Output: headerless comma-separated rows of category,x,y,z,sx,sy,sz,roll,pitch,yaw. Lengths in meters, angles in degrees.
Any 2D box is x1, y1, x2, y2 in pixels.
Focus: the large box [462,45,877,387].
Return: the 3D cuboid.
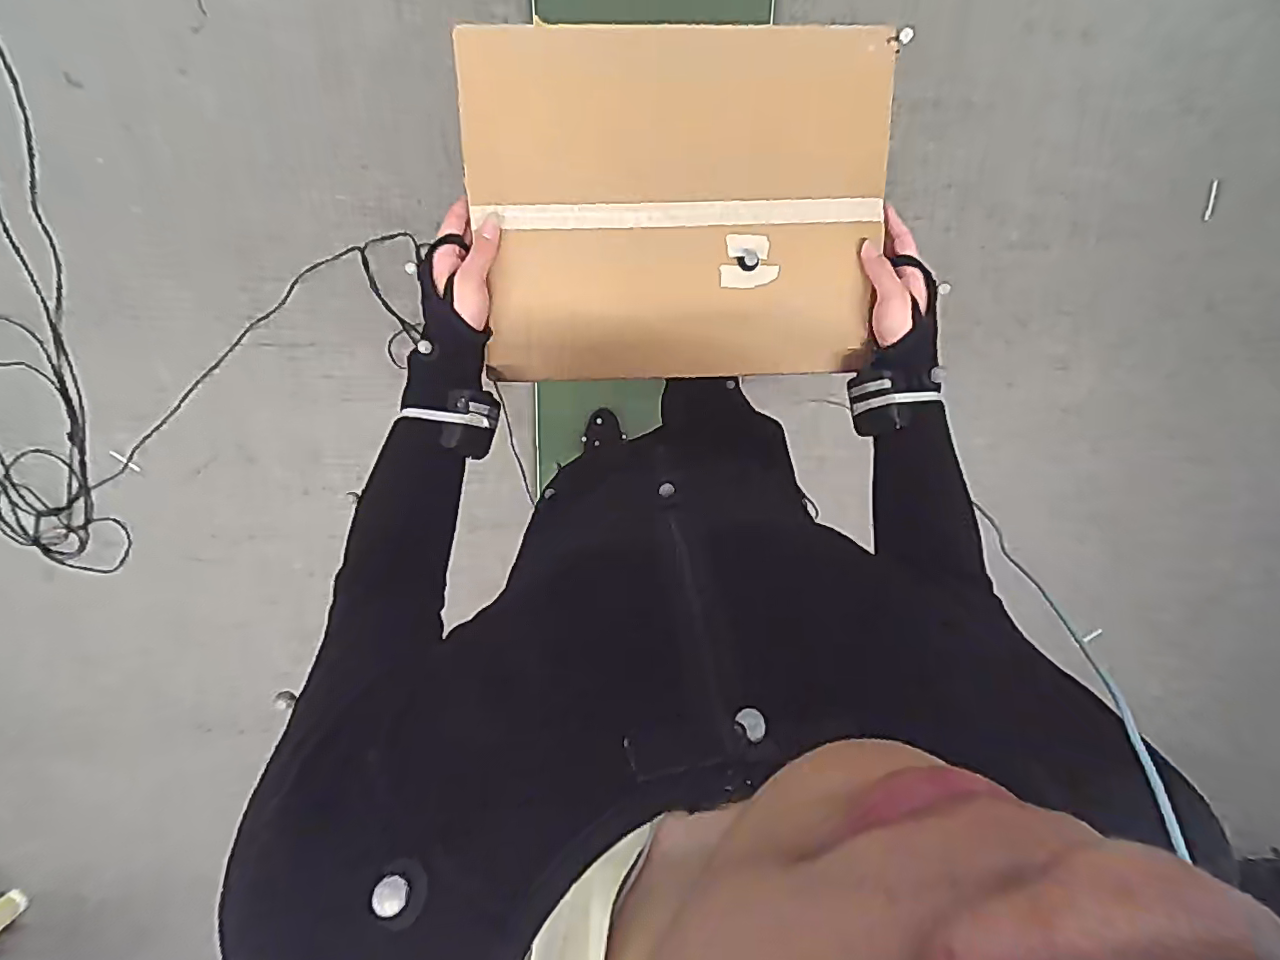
large box,0.027,-0.294,0.689,0.408,0.320,0.320,-3,105,-3
